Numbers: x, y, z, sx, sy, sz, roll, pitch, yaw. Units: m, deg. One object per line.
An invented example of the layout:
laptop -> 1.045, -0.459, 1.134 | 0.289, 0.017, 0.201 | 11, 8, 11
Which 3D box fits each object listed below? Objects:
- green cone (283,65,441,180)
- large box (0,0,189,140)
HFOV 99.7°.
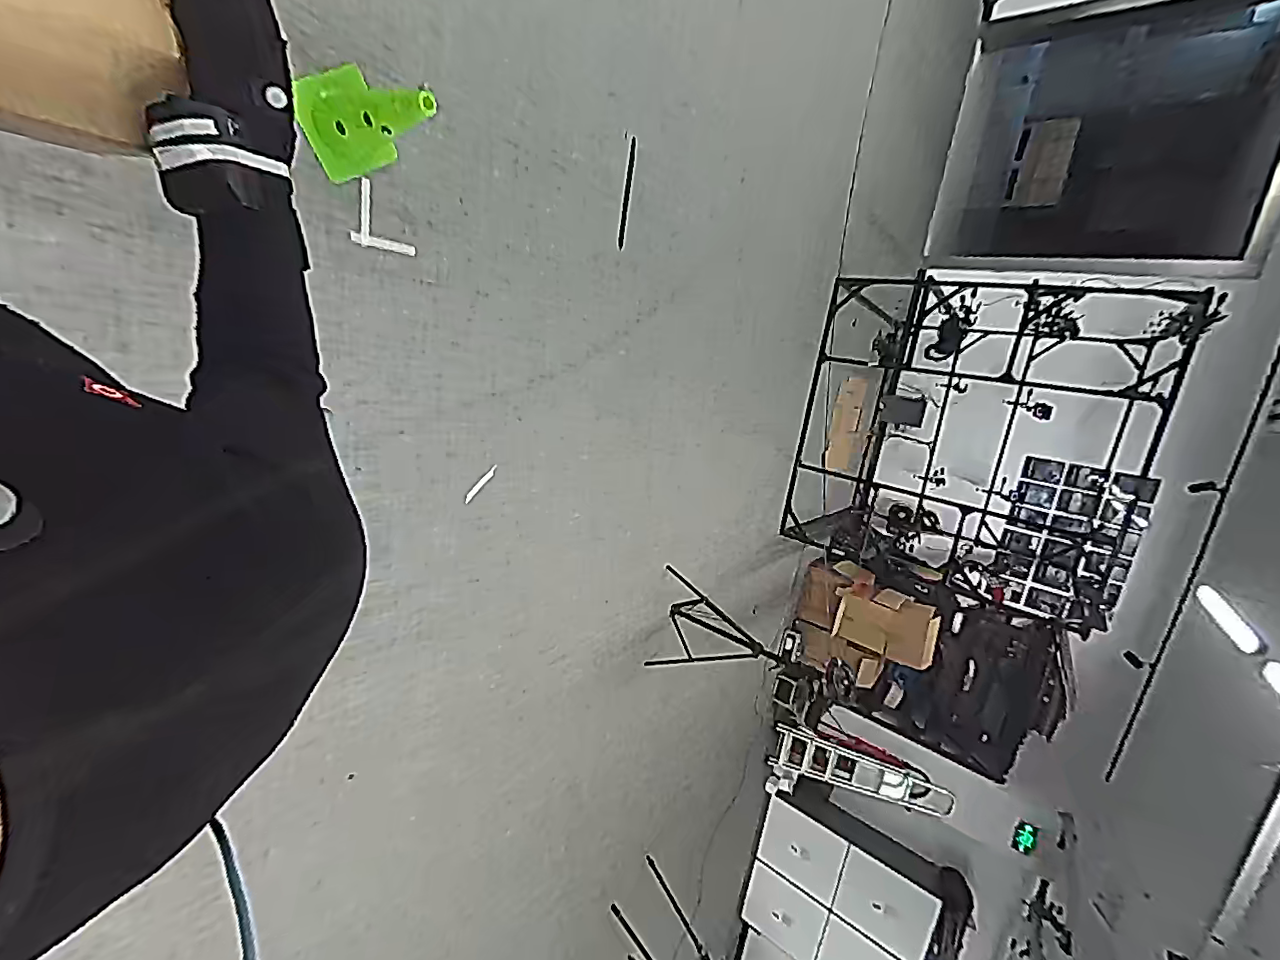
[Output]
green cone -> -0.564, -0.799, 1.183 | 0.202, 0.368, 0.200 | -50, 141, -32
large box -> -0.538, -0.417, 0.279 | 0.408, 0.320, 0.320 | -10, 119, -52
